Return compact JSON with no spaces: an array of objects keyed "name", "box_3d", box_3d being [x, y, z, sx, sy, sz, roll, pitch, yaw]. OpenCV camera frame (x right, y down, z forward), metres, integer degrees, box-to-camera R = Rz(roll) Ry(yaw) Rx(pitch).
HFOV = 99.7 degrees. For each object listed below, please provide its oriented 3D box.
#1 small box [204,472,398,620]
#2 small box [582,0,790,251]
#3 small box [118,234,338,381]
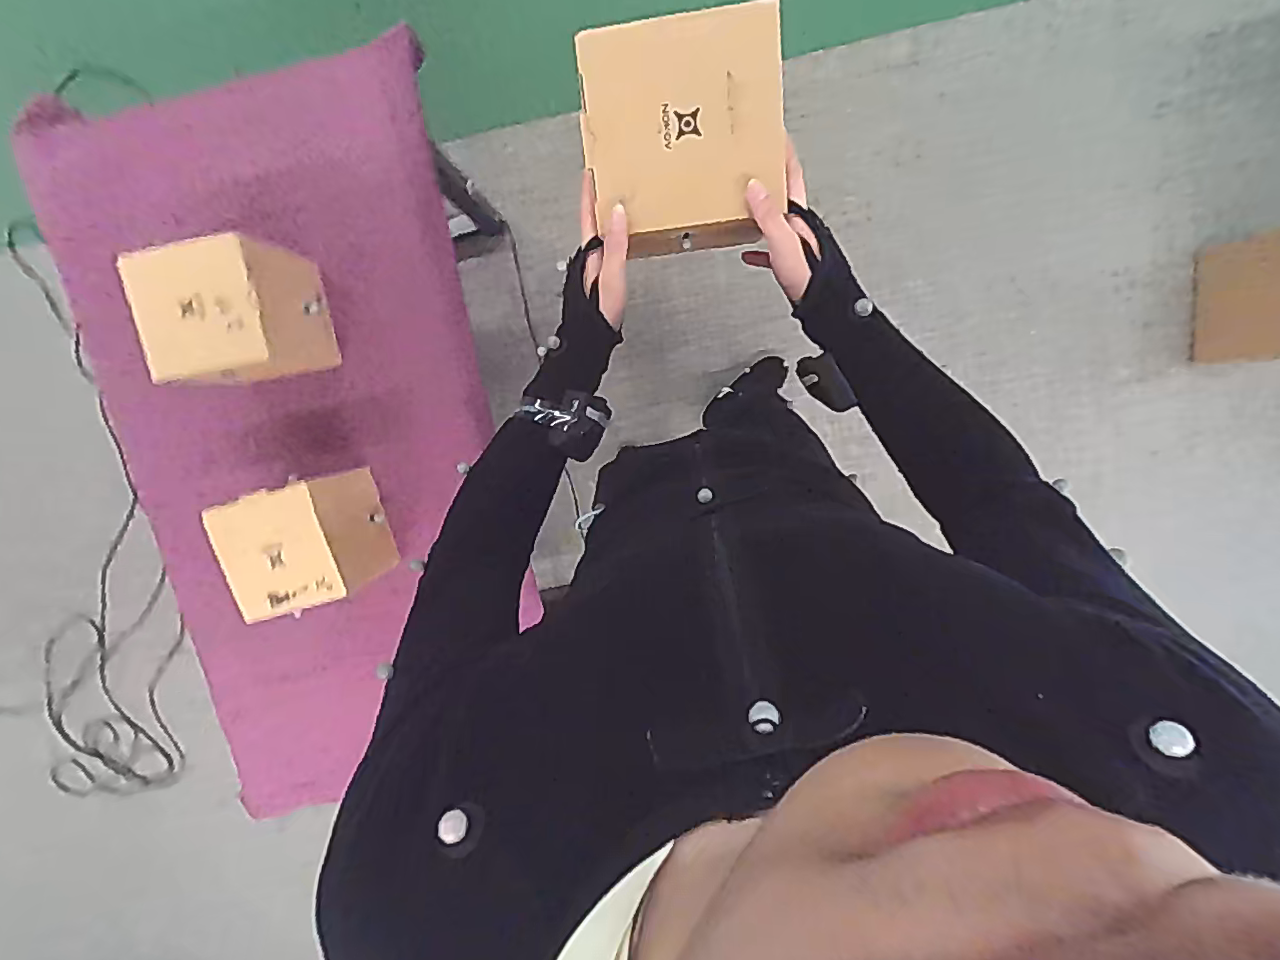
[{"name":"small box","box_3d":[-0.517,0.091,0.850,0.168,0.176,0.179,-15,98,5]},{"name":"small box","box_3d":[0.048,-0.337,0.549,0.179,0.176,0.168,-4,105,5]},{"name":"small box","box_3d":[-0.593,-0.242,0.801,0.179,0.176,0.168,-9,99,4]}]
